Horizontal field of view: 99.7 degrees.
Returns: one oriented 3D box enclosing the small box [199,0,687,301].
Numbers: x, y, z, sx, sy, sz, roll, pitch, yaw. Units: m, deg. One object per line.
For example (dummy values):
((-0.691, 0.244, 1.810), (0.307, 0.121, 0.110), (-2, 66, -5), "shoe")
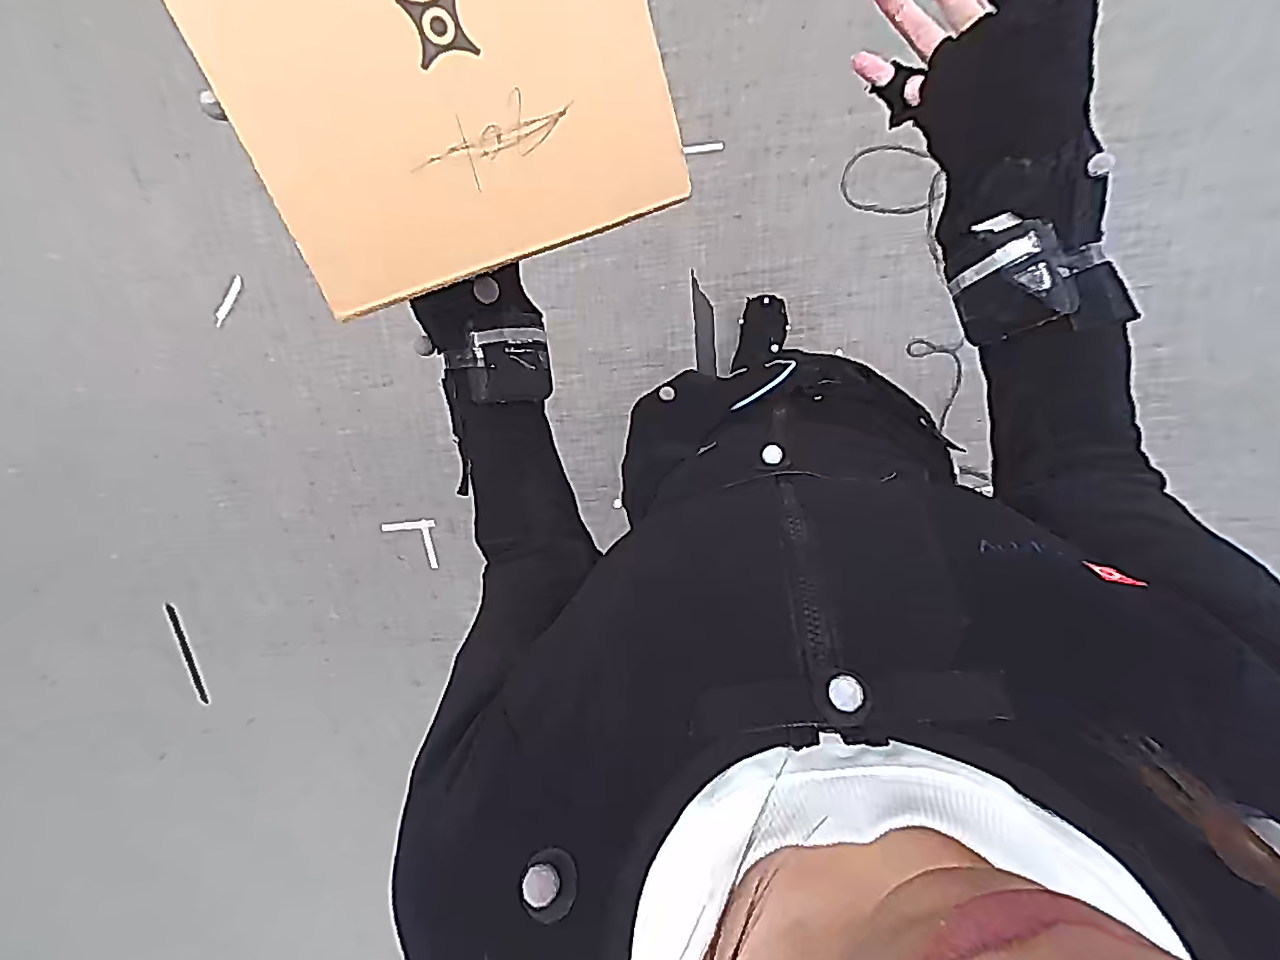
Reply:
((-0.099, -0.205, 0.283), (0.168, 0.176, 0.179), (-23, 115, -9), "small box")
